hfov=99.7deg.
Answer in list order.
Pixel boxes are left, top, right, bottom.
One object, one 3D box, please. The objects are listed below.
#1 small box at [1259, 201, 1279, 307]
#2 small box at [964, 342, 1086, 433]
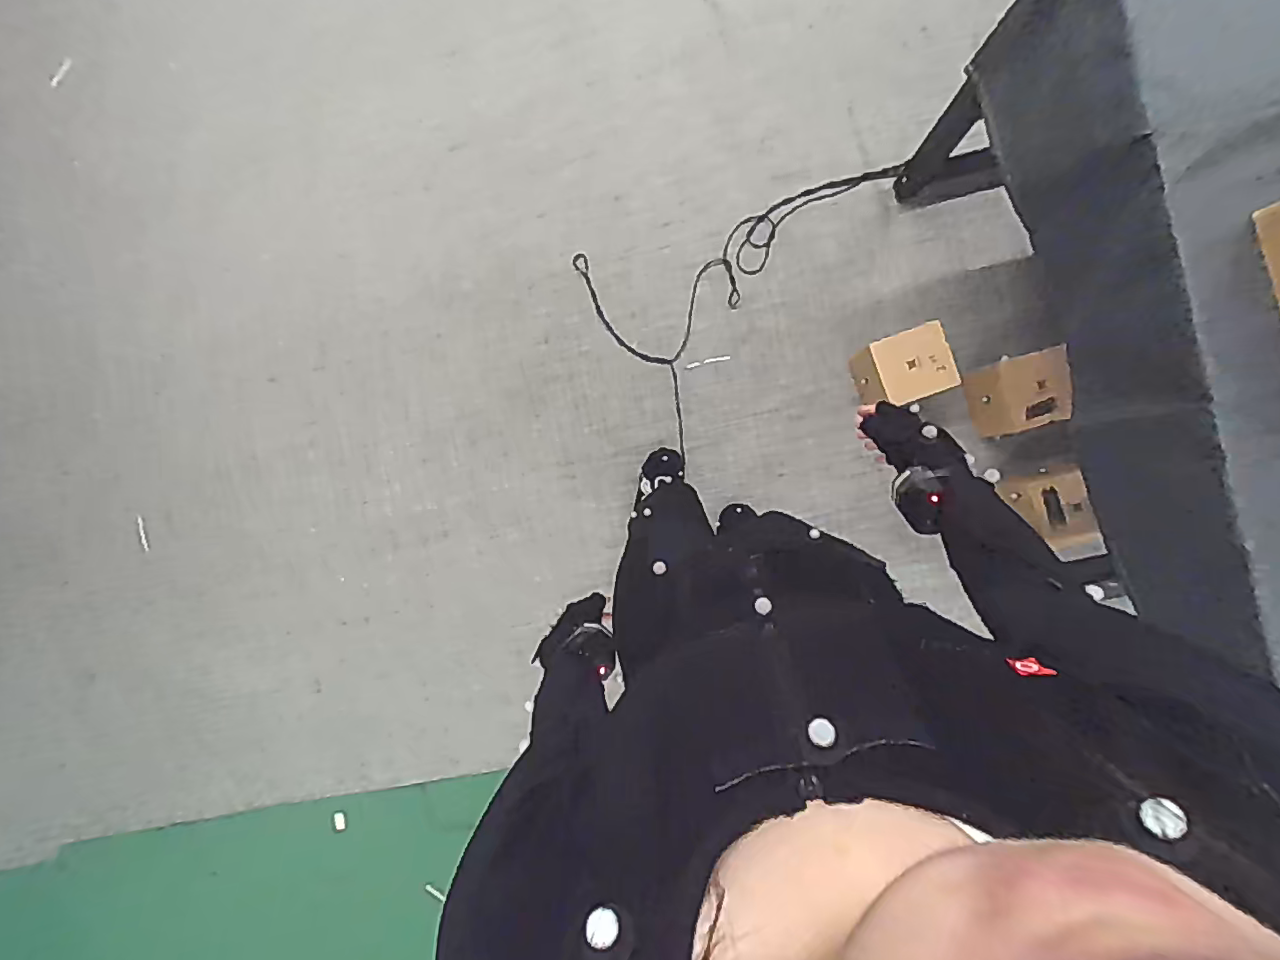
[{"bbox_3d":[0.886,-0.286,0.614,0.168,0.176,0.179,-17,90,4],"label":"small box"},{"bbox_3d":[0.941,-0.219,1.337,0.168,0.176,0.179,-14,88,4],"label":"small box"}]
